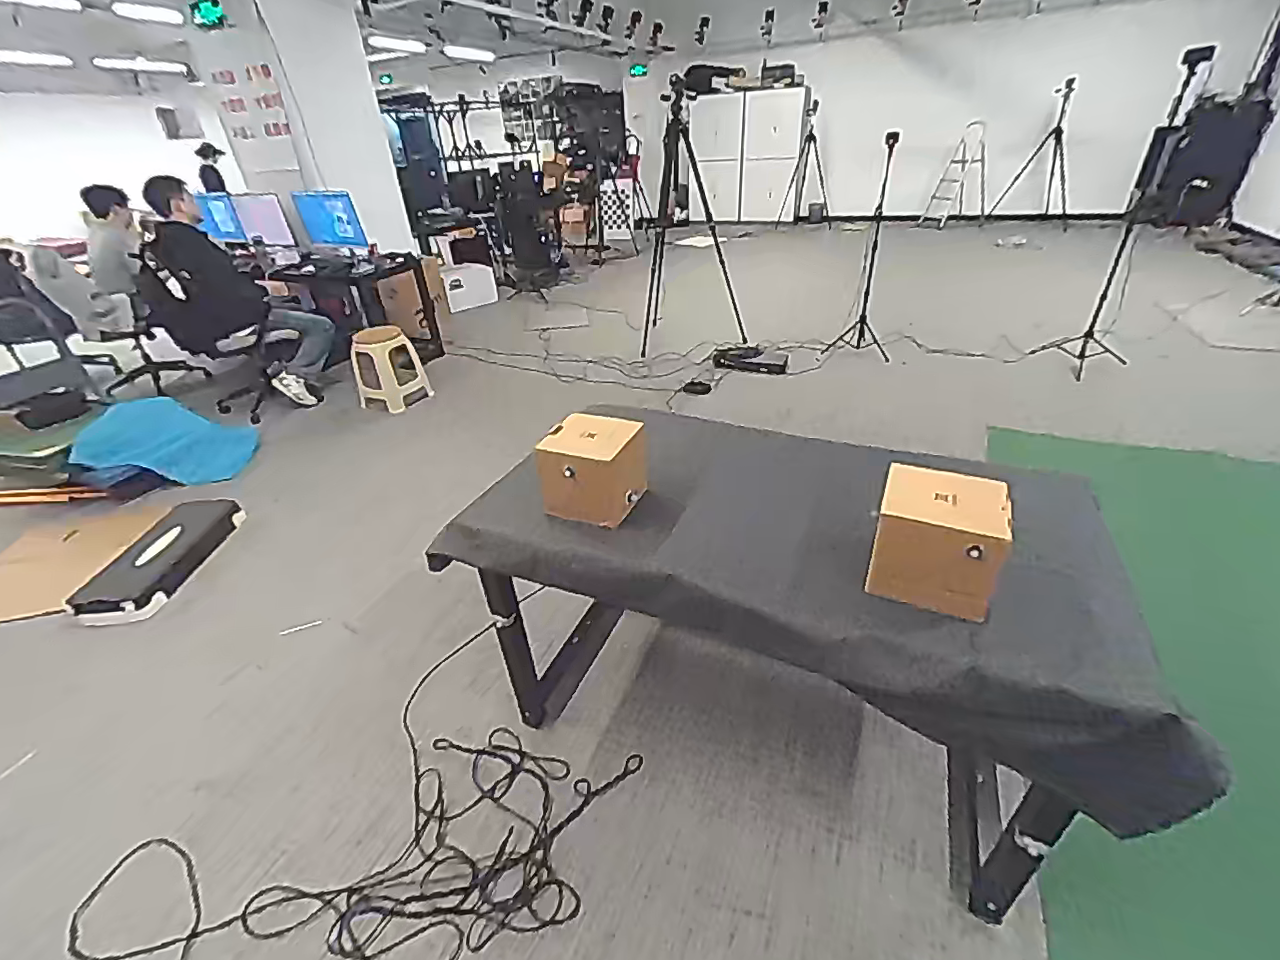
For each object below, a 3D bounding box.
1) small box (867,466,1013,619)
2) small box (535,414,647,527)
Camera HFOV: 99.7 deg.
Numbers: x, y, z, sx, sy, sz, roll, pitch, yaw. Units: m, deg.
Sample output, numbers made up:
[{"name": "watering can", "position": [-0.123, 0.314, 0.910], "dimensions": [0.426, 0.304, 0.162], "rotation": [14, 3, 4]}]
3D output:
[{"name": "small box", "position": [0.484, 0.099, 0.888], "dimensions": [0.179, 0.176, 0.168], "rotation": [13, 36, 24]}, {"name": "small box", "position": [-0.095, -0.021, 1.140], "dimensions": [0.179, 0.176, 0.168], "rotation": [11, 37, 21]}]
